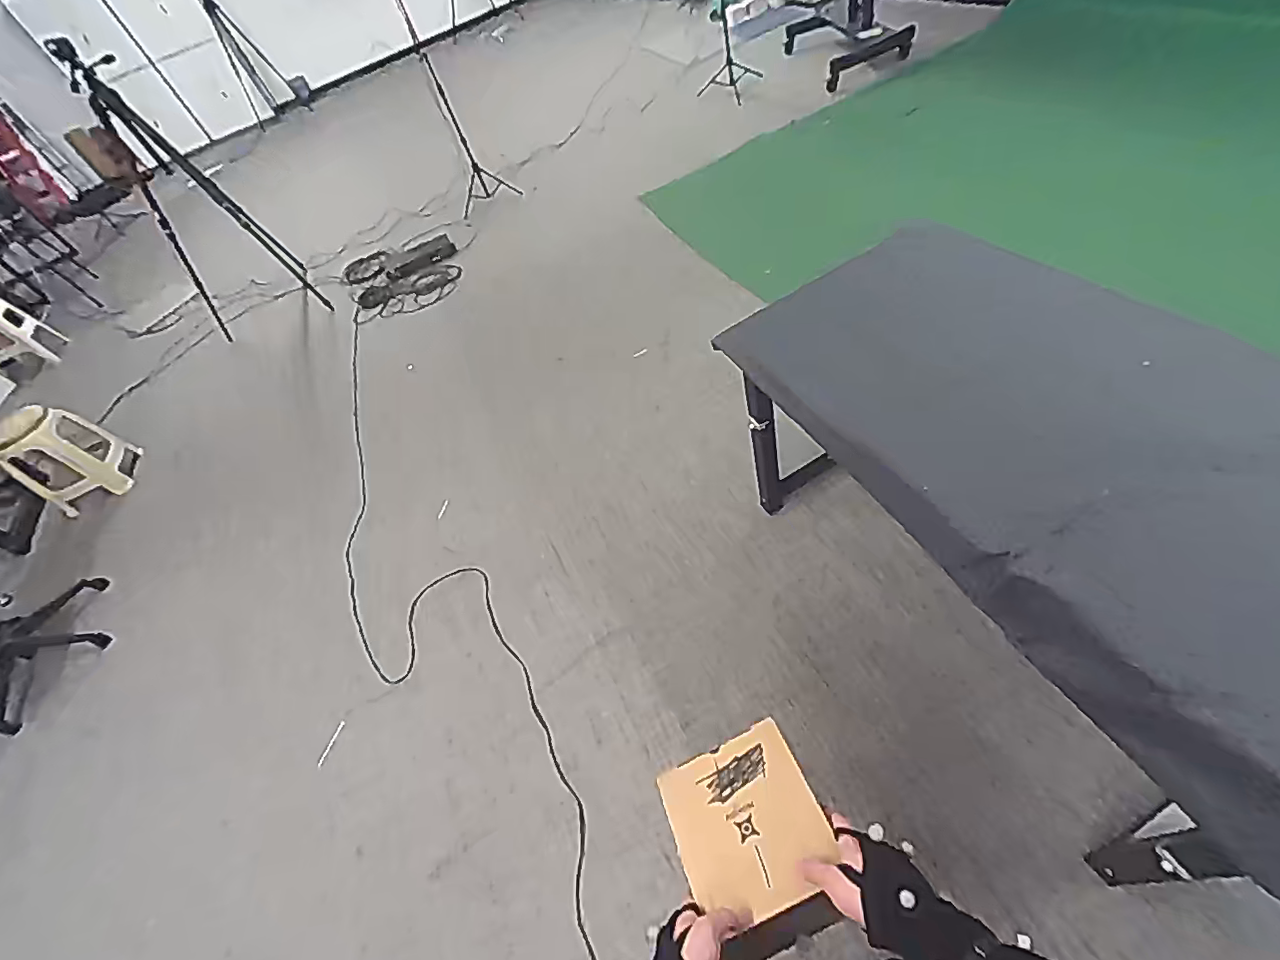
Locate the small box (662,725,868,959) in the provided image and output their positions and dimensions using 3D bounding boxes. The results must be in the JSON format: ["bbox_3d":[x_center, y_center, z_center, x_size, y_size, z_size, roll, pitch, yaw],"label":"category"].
[{"bbox_3d":[0.151,0.445,0.659,0.168,0.176,0.179,-29,39,0],"label":"small box"}]
